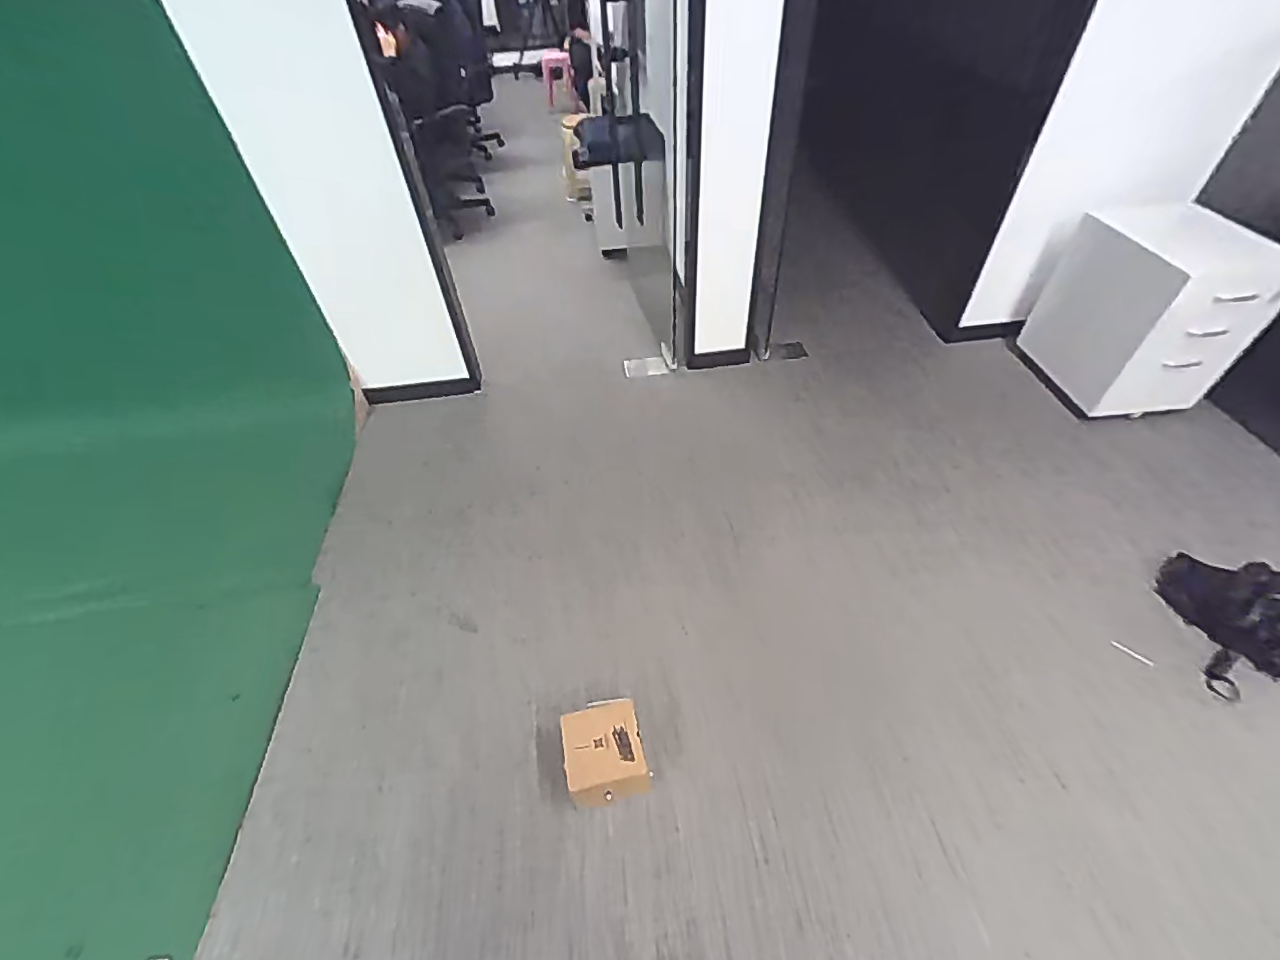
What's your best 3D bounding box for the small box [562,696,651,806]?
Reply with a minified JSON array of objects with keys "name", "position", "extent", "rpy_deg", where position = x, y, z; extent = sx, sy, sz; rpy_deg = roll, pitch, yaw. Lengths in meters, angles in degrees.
[{"name":"small box","position":[-0.078,0.639,1.273],"extent":[0.179,0.176,0.168],"rpy_deg":[-13,47,-9]}]
